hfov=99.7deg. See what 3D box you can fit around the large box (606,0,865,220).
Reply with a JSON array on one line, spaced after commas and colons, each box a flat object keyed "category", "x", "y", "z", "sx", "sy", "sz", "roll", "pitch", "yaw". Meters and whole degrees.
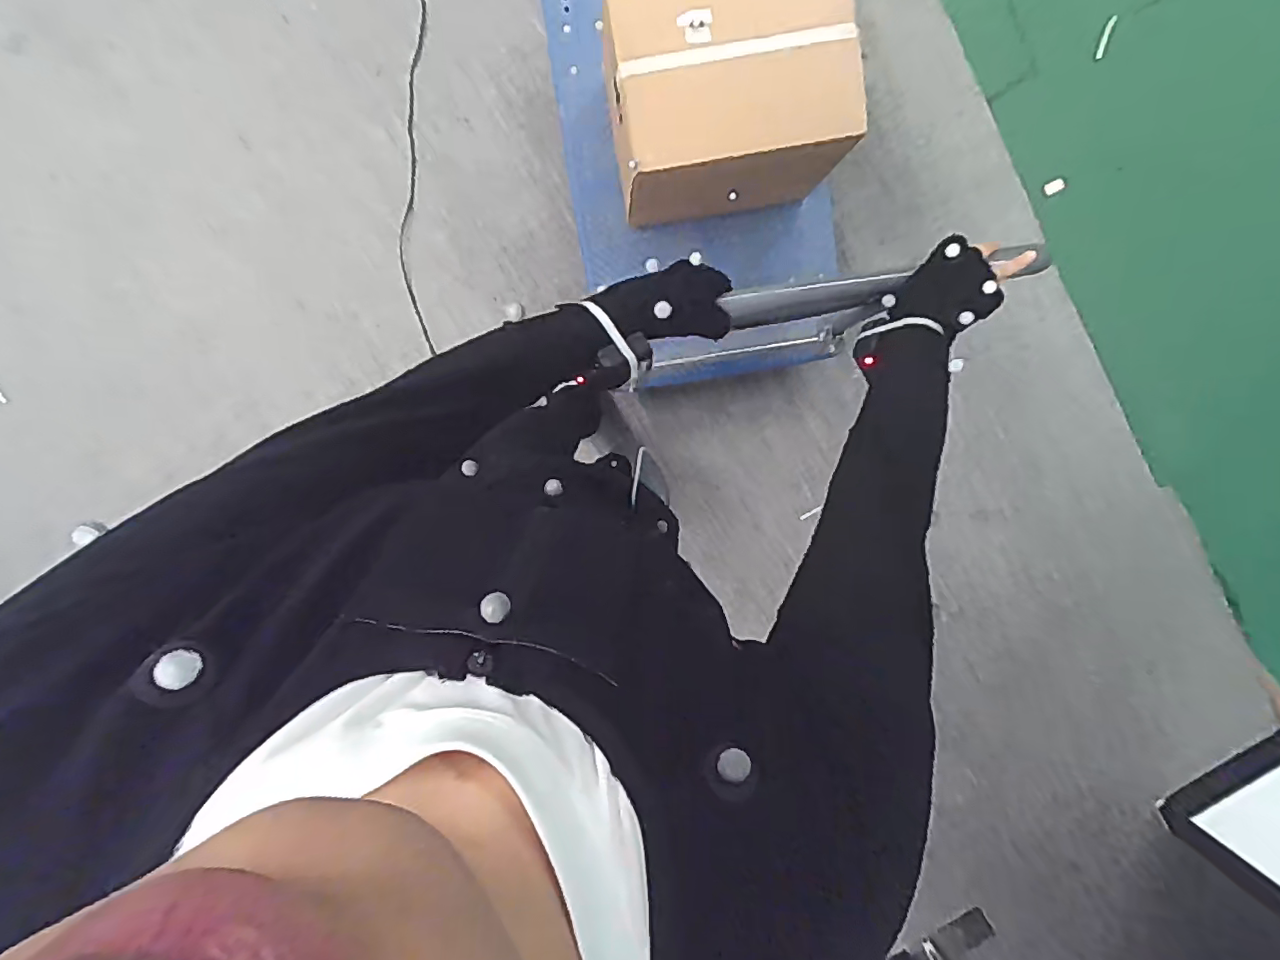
[{"category": "large box", "x": 0.160, "y": -0.737, "z": 1.044, "sx": 0.408, "sy": 0.320, "sz": 0.320, "roll": -11, "pitch": 99, "yaw": -1}]
